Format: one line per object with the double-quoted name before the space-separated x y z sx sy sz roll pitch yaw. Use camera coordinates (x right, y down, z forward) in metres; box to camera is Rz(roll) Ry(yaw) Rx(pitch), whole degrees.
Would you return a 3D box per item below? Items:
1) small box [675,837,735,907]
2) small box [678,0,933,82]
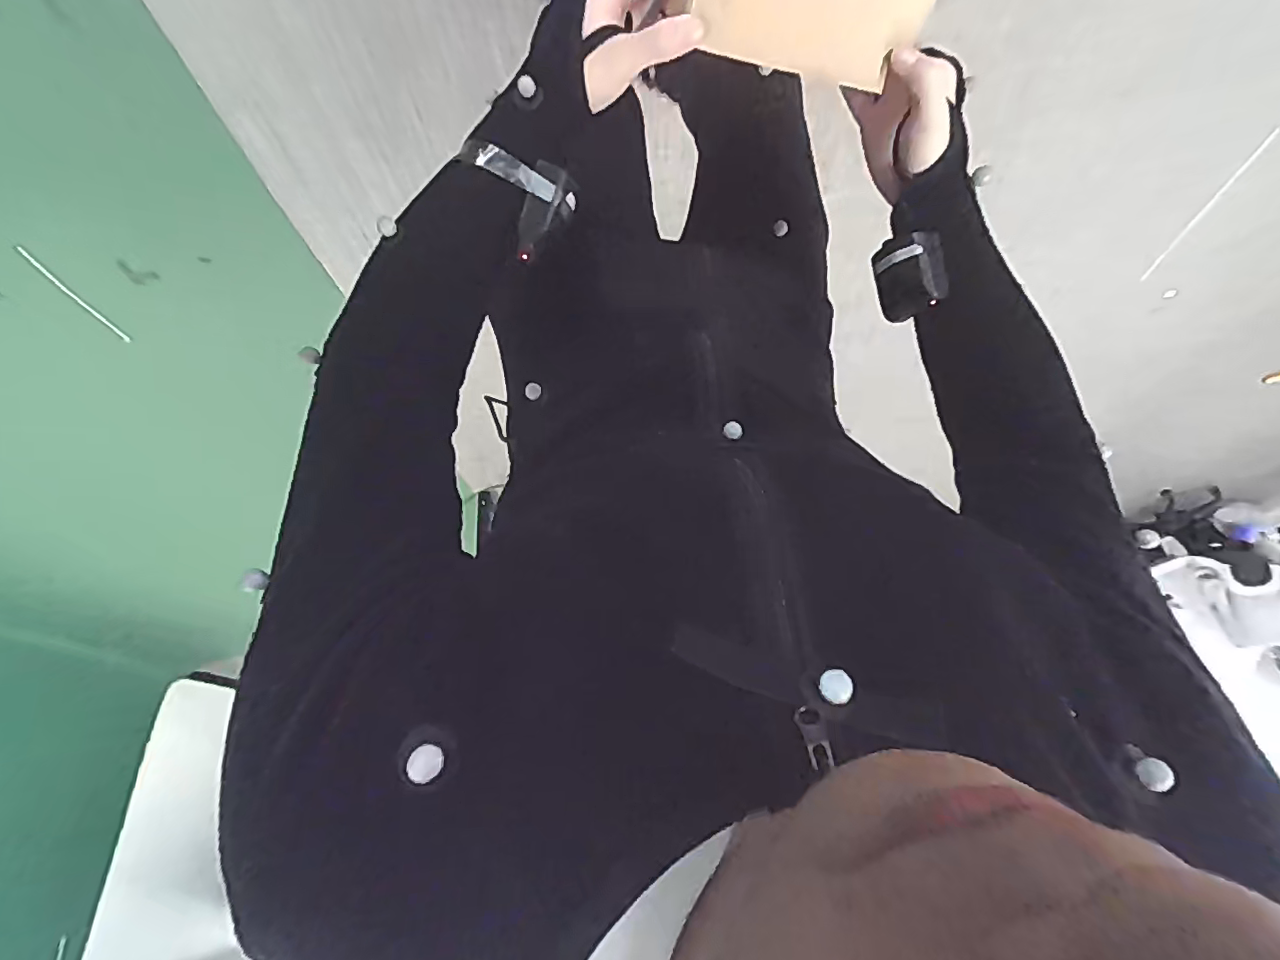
"small box" 0.223 1.339 1.860 0.179 0.176 0.168 -9 151 4
"small box" 0.120 -0.423 0.382 0.179 0.176 0.168 1 144 -14
